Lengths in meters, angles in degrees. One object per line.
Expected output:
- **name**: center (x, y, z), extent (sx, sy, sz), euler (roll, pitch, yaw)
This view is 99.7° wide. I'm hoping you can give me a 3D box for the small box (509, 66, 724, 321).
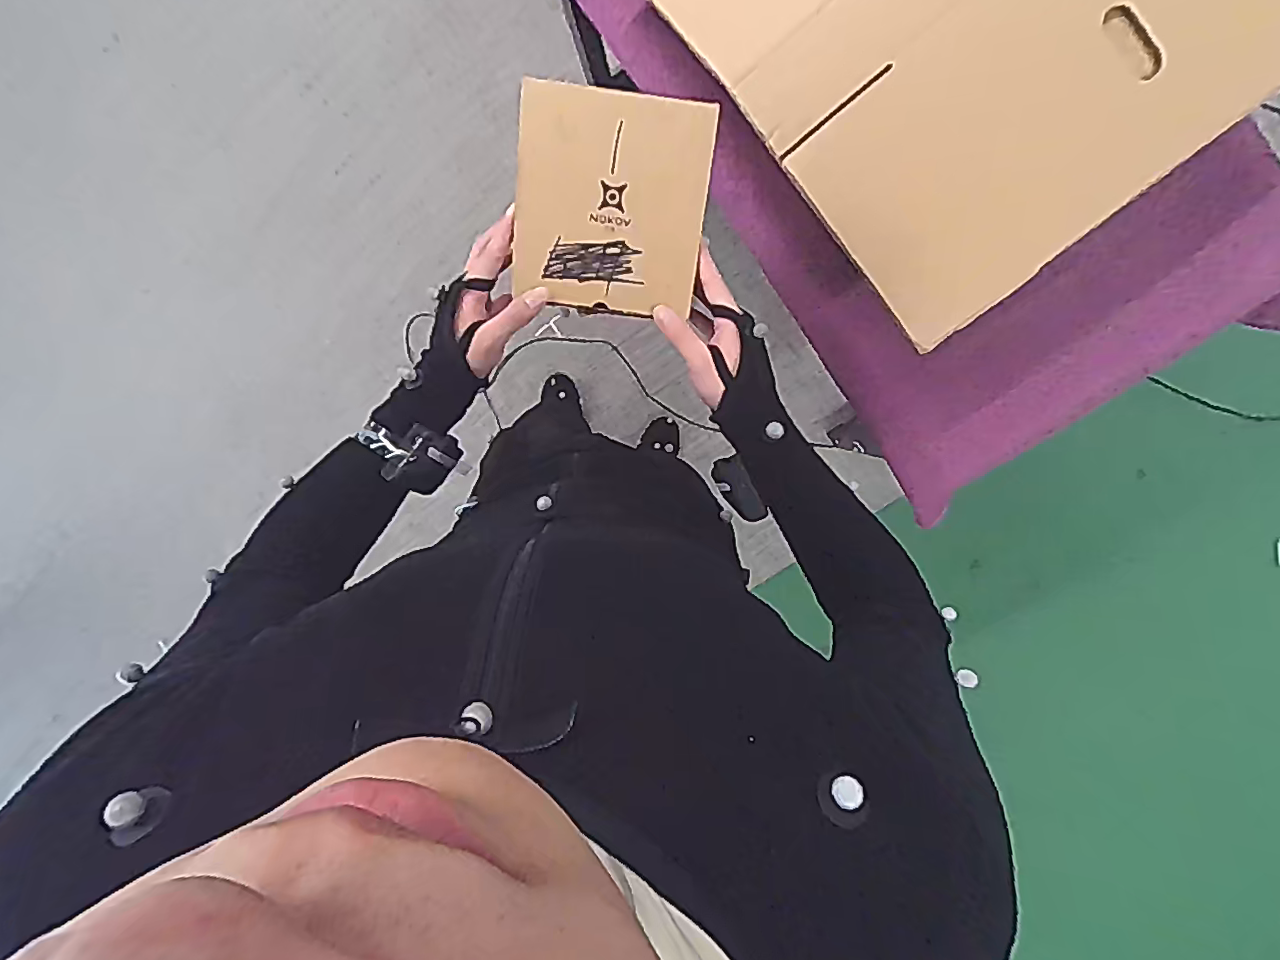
- **small box**: center (-0.023, -0.260, 0.533), extent (0.168, 0.176, 0.179), euler (8, 107, -3)
